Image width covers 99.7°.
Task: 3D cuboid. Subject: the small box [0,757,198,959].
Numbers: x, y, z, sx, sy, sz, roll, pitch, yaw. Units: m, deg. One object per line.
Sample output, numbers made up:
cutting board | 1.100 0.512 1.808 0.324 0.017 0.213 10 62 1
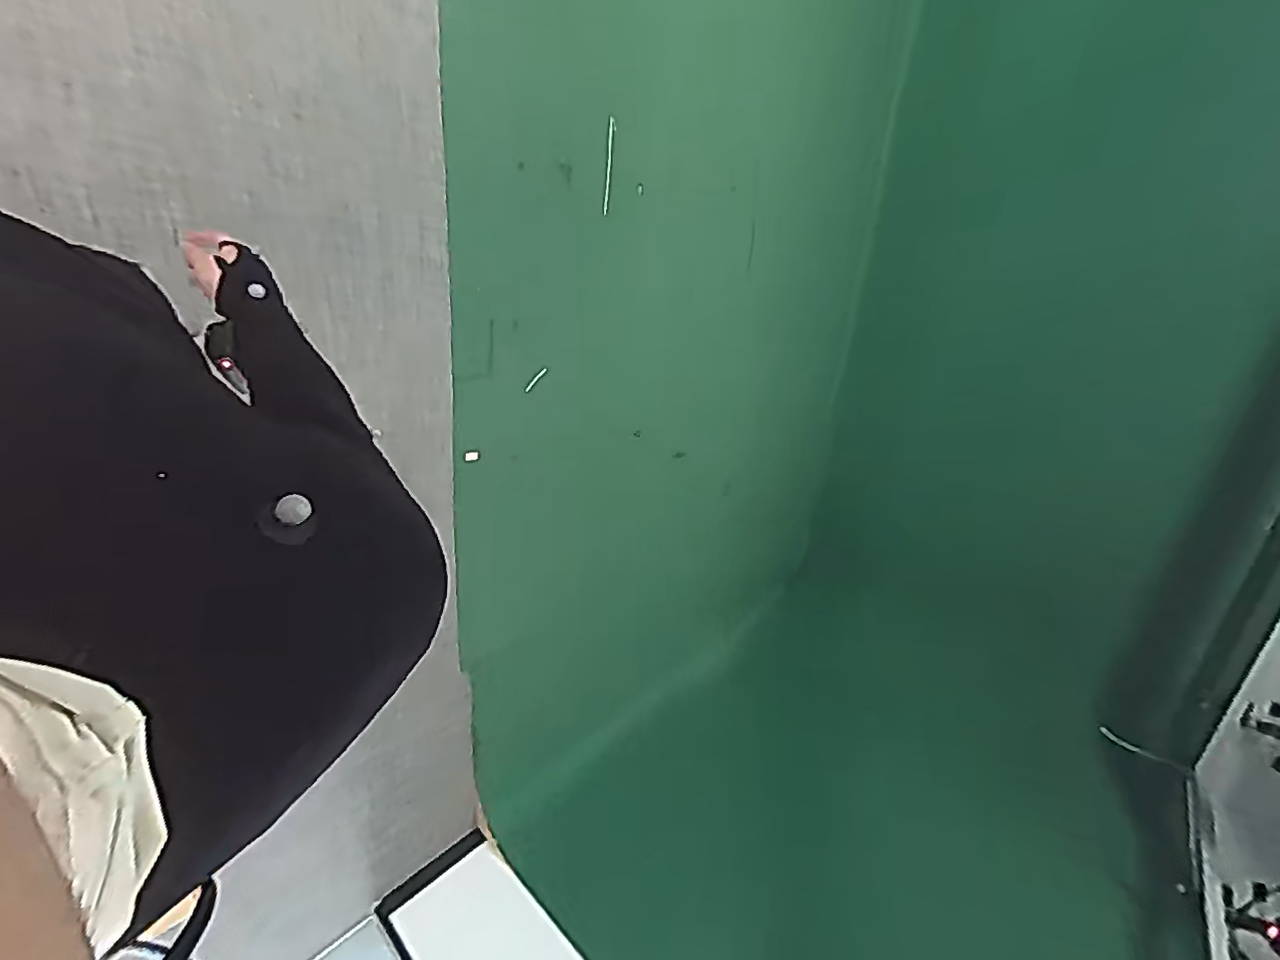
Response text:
small box | -0.722 0.508 0.720 0.168 0.176 0.179 -14 119 -45
